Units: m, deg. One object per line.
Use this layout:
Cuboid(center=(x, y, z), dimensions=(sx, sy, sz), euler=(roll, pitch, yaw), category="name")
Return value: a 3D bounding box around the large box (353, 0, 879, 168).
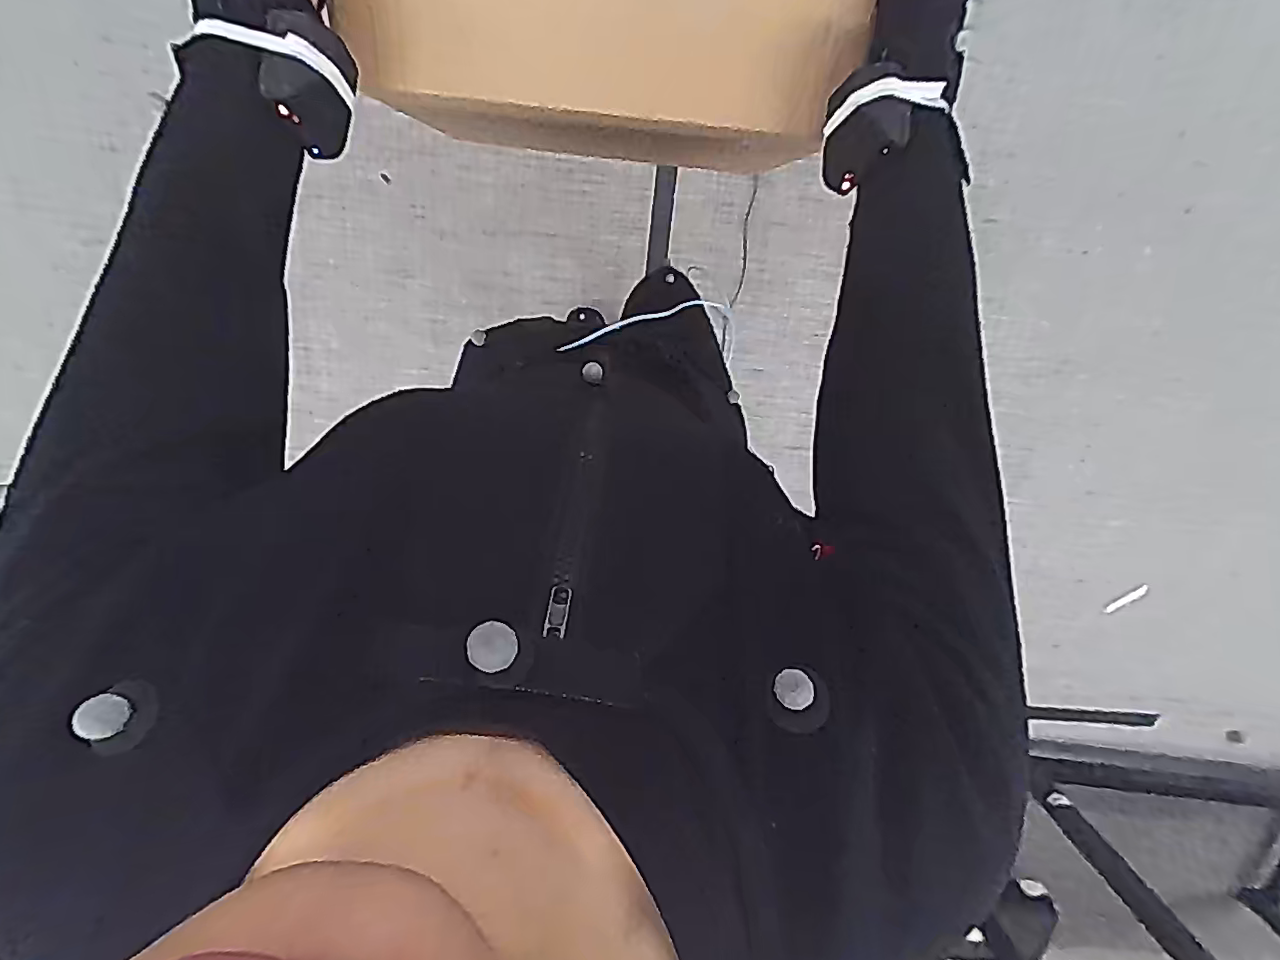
Cuboid(center=(-0.016, -0.502, 0.507), dimensions=(0.408, 0.320, 0.320), euler=(4, 115, -4), category="large box")
